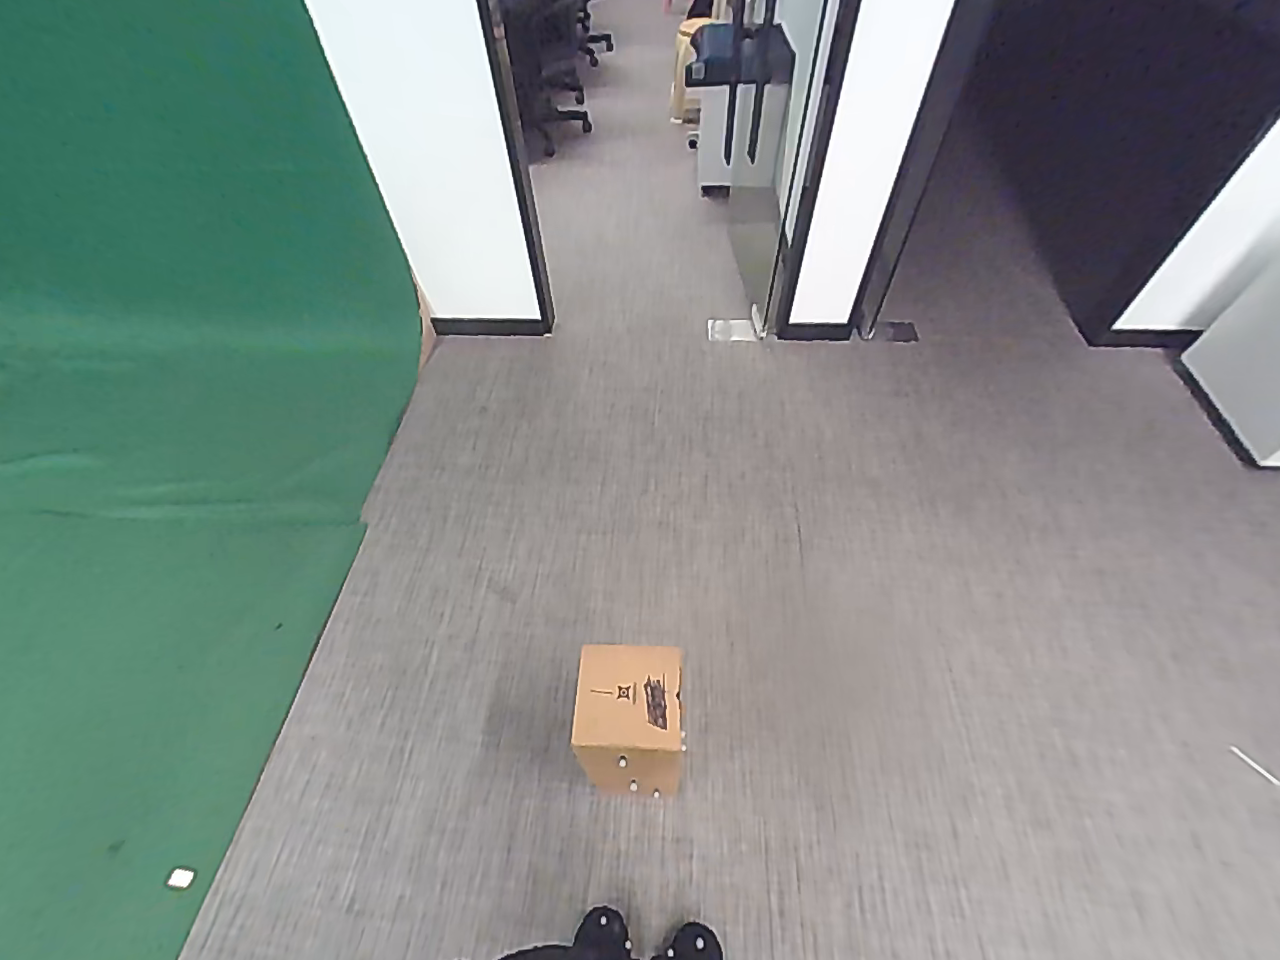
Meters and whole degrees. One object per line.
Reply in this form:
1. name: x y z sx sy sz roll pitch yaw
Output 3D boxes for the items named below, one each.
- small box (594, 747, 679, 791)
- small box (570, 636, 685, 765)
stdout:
1. small box: -0.001 0.597 1.226 0.179 0.176 0.168 0 52 5
2. small box: -0.016 0.397 0.964 0.179 0.176 0.168 4 51 5
